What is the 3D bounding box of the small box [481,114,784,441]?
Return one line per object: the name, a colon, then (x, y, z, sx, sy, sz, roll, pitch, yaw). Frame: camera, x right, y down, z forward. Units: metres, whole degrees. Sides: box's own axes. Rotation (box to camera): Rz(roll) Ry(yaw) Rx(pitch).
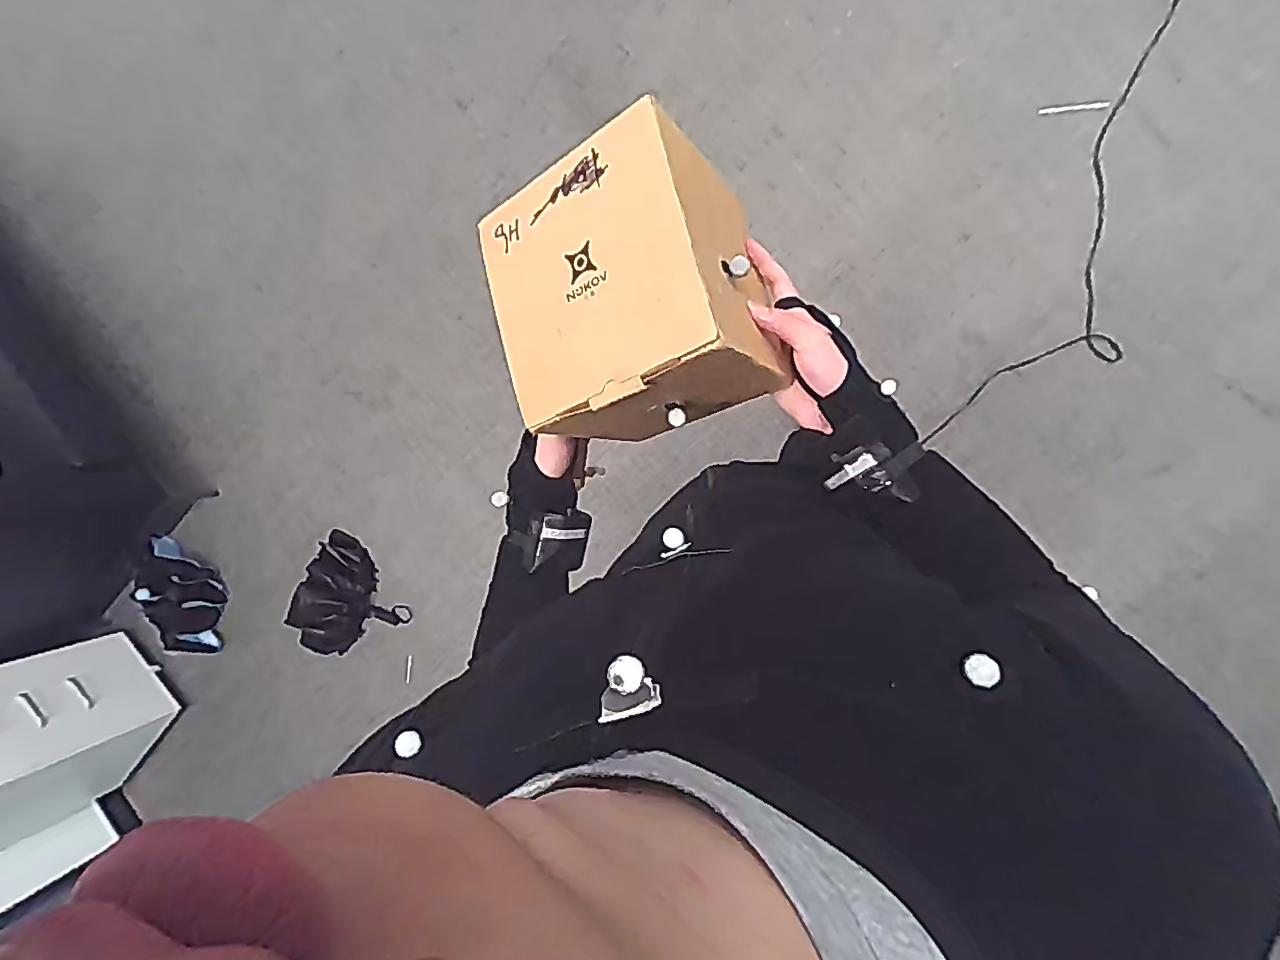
small box: (0.003, -0.139, 0.450, 0.168, 0.176, 0.179, -20, 82, 29)
